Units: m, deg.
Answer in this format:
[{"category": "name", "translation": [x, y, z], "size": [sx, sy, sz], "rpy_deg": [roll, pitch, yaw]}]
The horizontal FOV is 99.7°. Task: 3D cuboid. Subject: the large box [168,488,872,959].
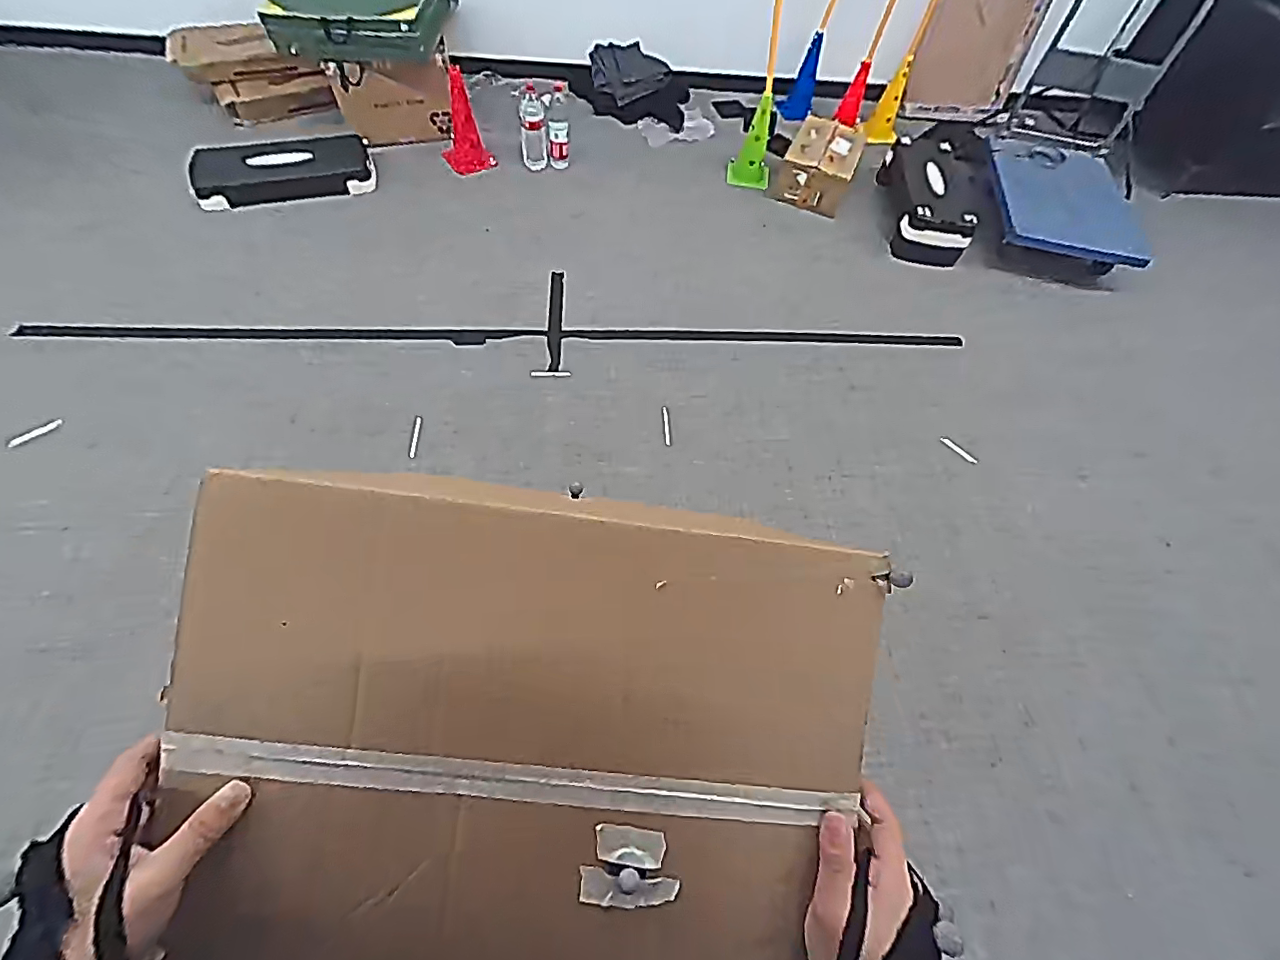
[{"category": "large box", "translation": [-0.077, 0.179, 0.479], "size": [0.408, 0.320, 0.320], "rpy_deg": [7, 91, -5]}]
